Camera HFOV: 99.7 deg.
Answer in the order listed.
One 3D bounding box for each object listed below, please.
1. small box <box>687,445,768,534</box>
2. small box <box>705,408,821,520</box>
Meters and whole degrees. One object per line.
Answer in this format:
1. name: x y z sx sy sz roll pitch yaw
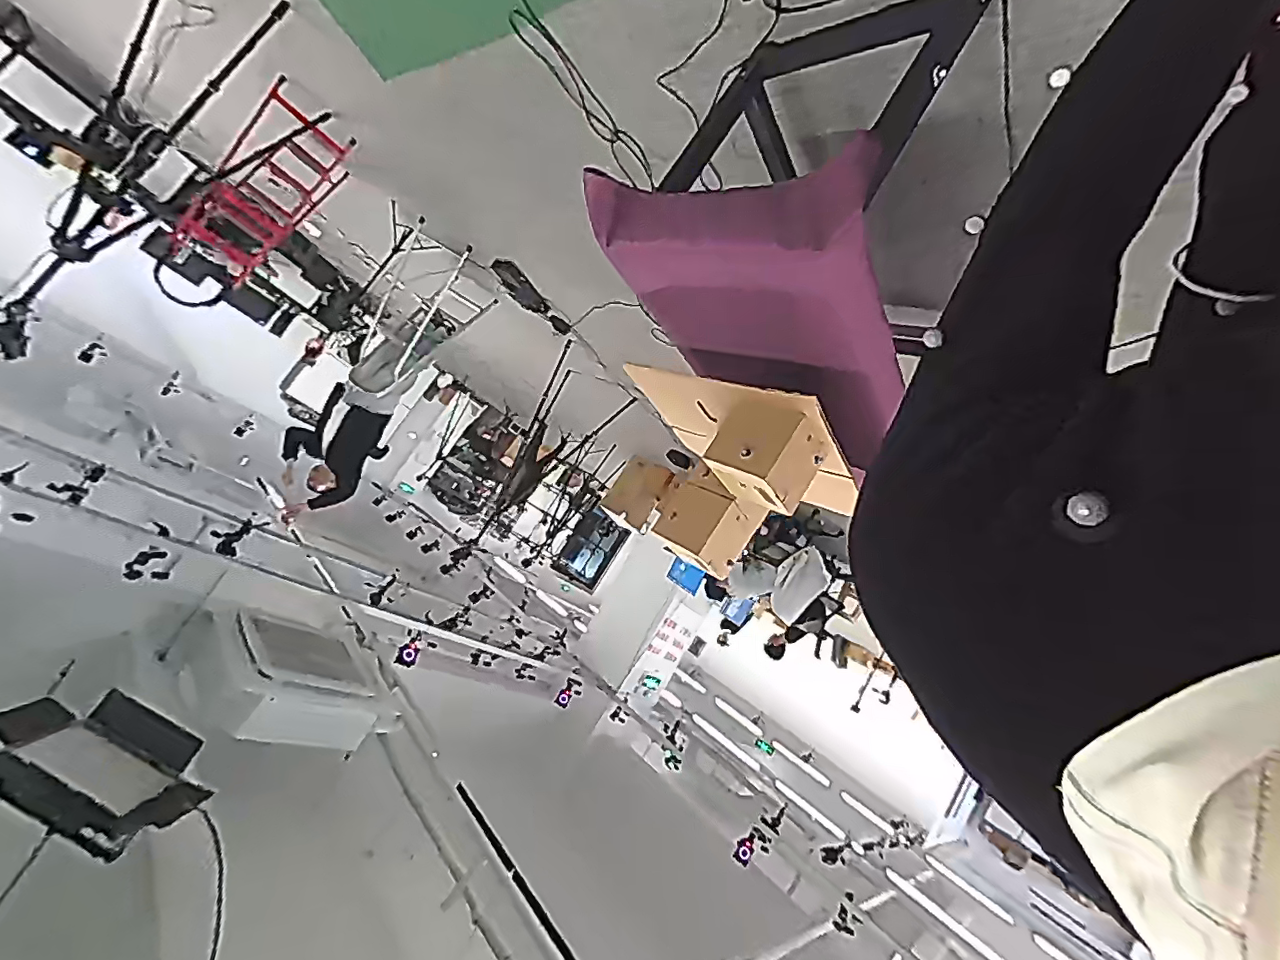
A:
1. small box: 0.267 0.016 1.474 0.179 0.176 0.168 22 163 43
2. small box: 0.283 -0.040 1.207 0.179 0.176 0.168 24 165 45
